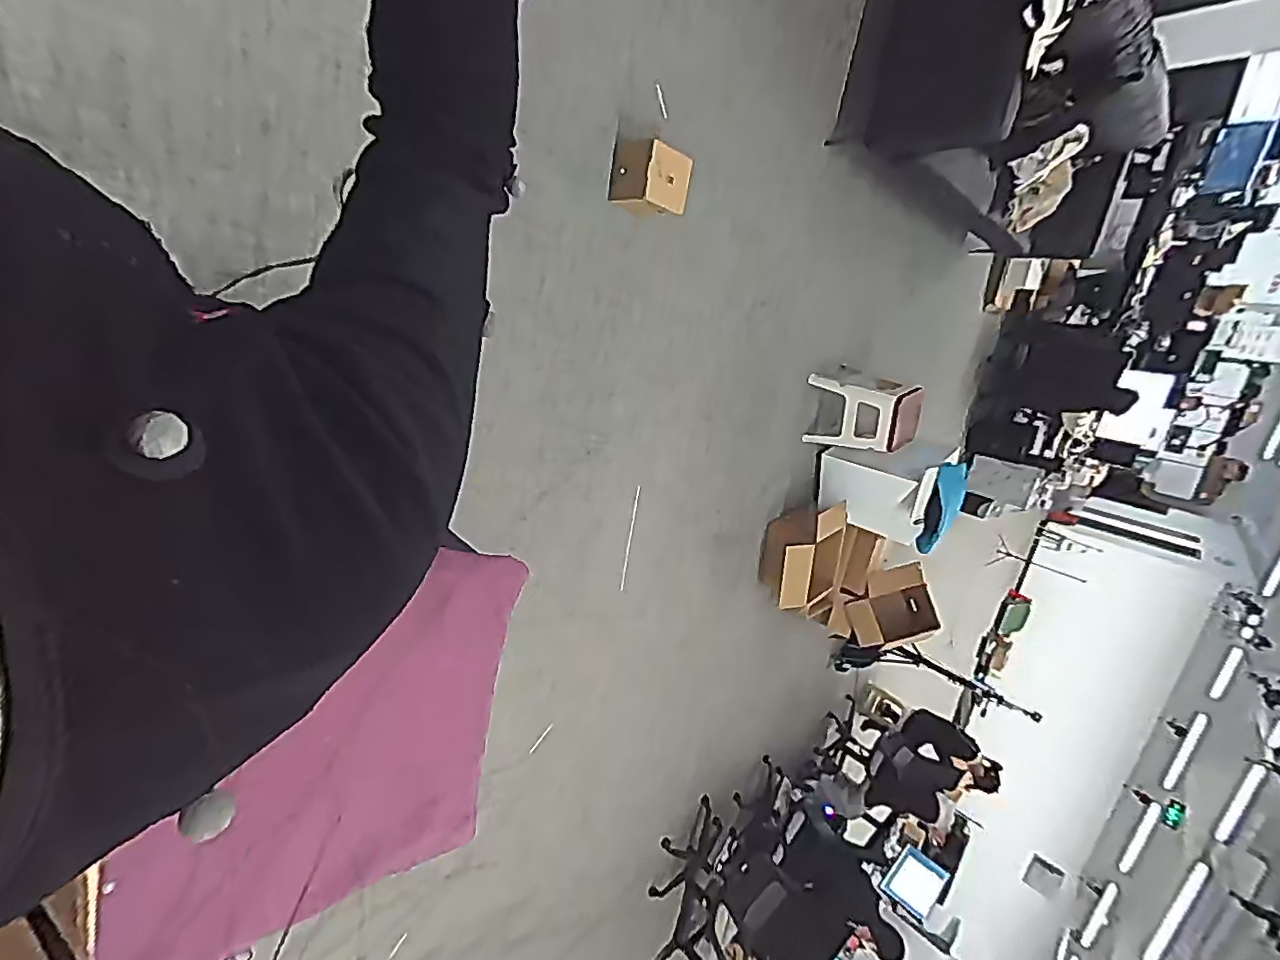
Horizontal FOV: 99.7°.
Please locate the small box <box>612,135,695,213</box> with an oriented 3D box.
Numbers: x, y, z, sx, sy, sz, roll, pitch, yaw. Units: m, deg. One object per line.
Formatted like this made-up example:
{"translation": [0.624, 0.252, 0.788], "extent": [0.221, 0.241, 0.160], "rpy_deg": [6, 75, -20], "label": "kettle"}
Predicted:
{"translation": [0.039, -0.948, 1.689], "extent": [0.179, 0.176, 0.168], "rpy_deg": [-4, 110, -44], "label": "small box"}
